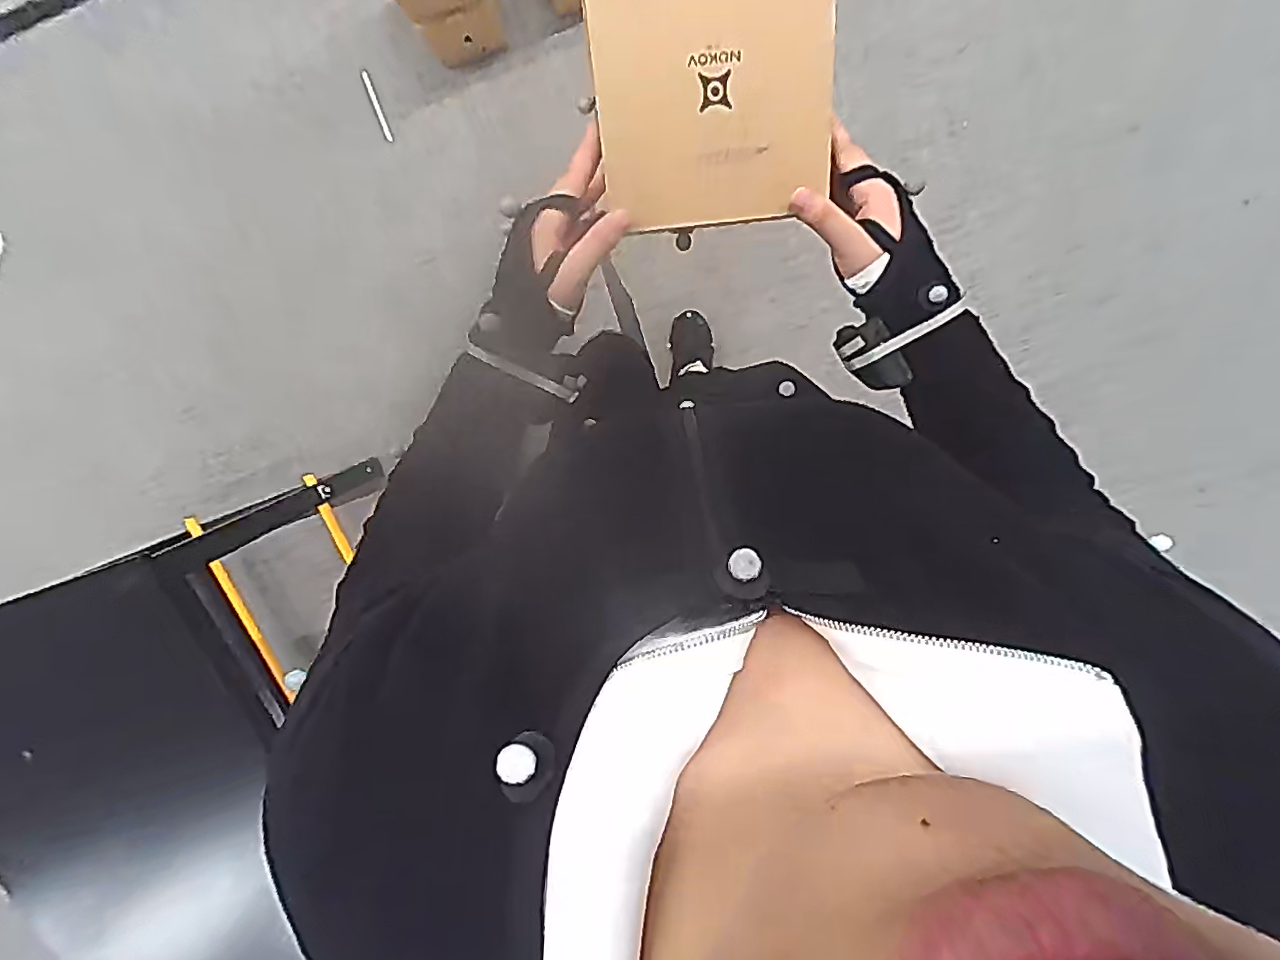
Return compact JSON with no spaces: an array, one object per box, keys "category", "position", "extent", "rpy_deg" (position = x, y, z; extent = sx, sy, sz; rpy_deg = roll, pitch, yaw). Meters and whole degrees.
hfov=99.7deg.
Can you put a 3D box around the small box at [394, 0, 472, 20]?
[{"category":"small box","position":[-0.407,-0.995,0.985],"extent":[0.179,0.176,0.168],"rpy_deg":[-16,104,5]}]

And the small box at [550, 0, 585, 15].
[{"category":"small box","position":[-0.135,-1.127,1.118],"extent":[0.179,0.176,0.168],"rpy_deg":[-19,104,6]}]

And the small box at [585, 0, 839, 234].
[{"category":"small box","position":[0.046,-0.303,0.434],"extent":[0.168,0.176,0.179],"rpy_deg":[-6,114,0]}]

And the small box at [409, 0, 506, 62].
[{"category":"small box","position":[-0.404,-1.031,1.147],"extent":[0.168,0.176,0.179],"rpy_deg":[-16,105,5]}]
